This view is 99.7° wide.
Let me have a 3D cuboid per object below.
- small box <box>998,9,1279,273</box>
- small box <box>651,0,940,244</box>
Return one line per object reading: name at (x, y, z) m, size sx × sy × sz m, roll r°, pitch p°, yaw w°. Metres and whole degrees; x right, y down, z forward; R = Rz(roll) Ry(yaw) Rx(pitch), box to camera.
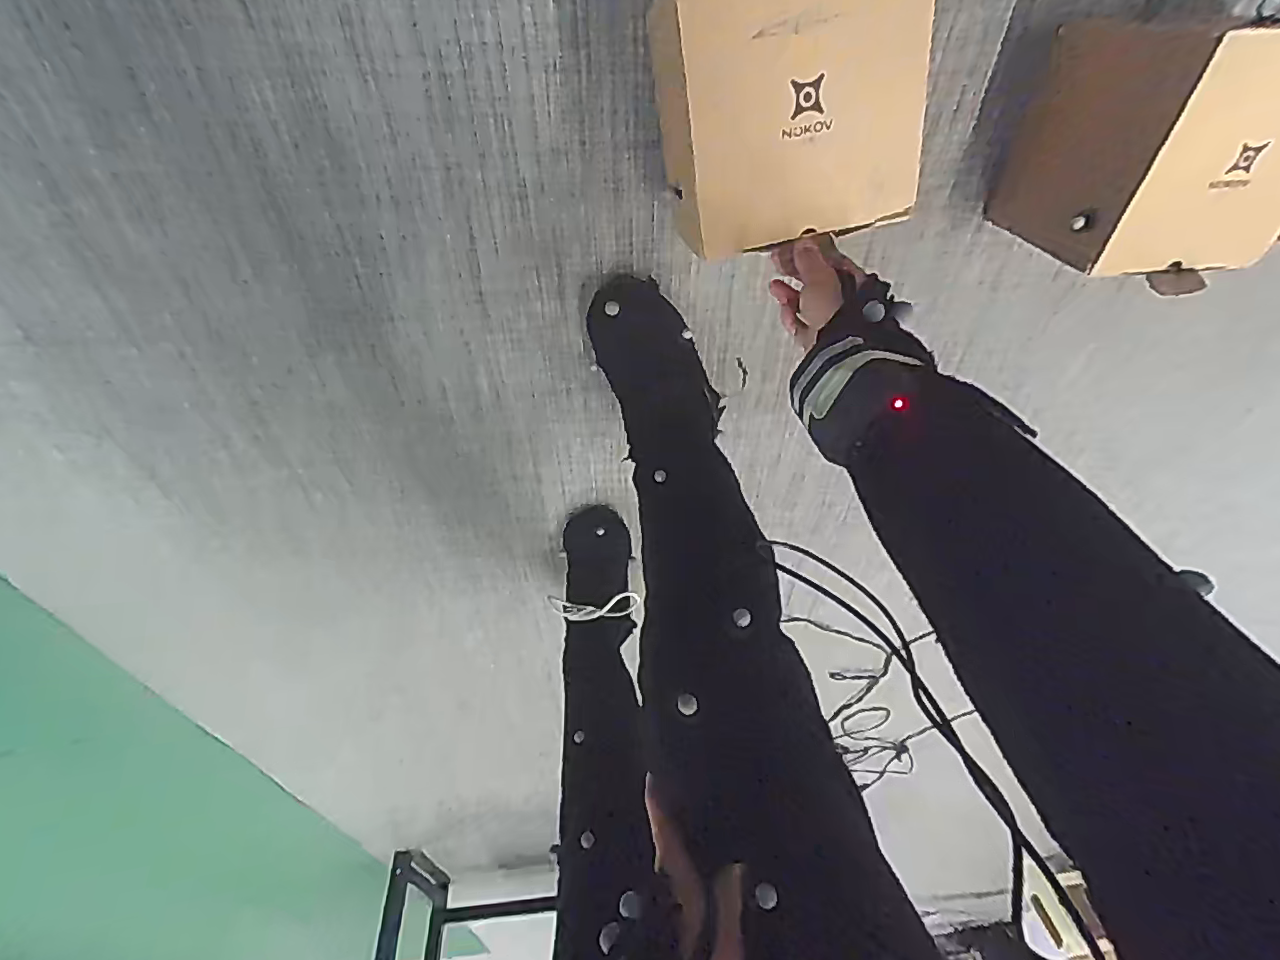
small box at (0.473, -0.307, 0.488) m, size 0.168 × 0.176 × 0.179 m, roll -4°, pitch 134°, yaw -4°
small box at (0.106, -0.305, 0.426) m, size 0.168 × 0.176 × 0.179 m, roll -10°, pitch 122°, yaw 0°
